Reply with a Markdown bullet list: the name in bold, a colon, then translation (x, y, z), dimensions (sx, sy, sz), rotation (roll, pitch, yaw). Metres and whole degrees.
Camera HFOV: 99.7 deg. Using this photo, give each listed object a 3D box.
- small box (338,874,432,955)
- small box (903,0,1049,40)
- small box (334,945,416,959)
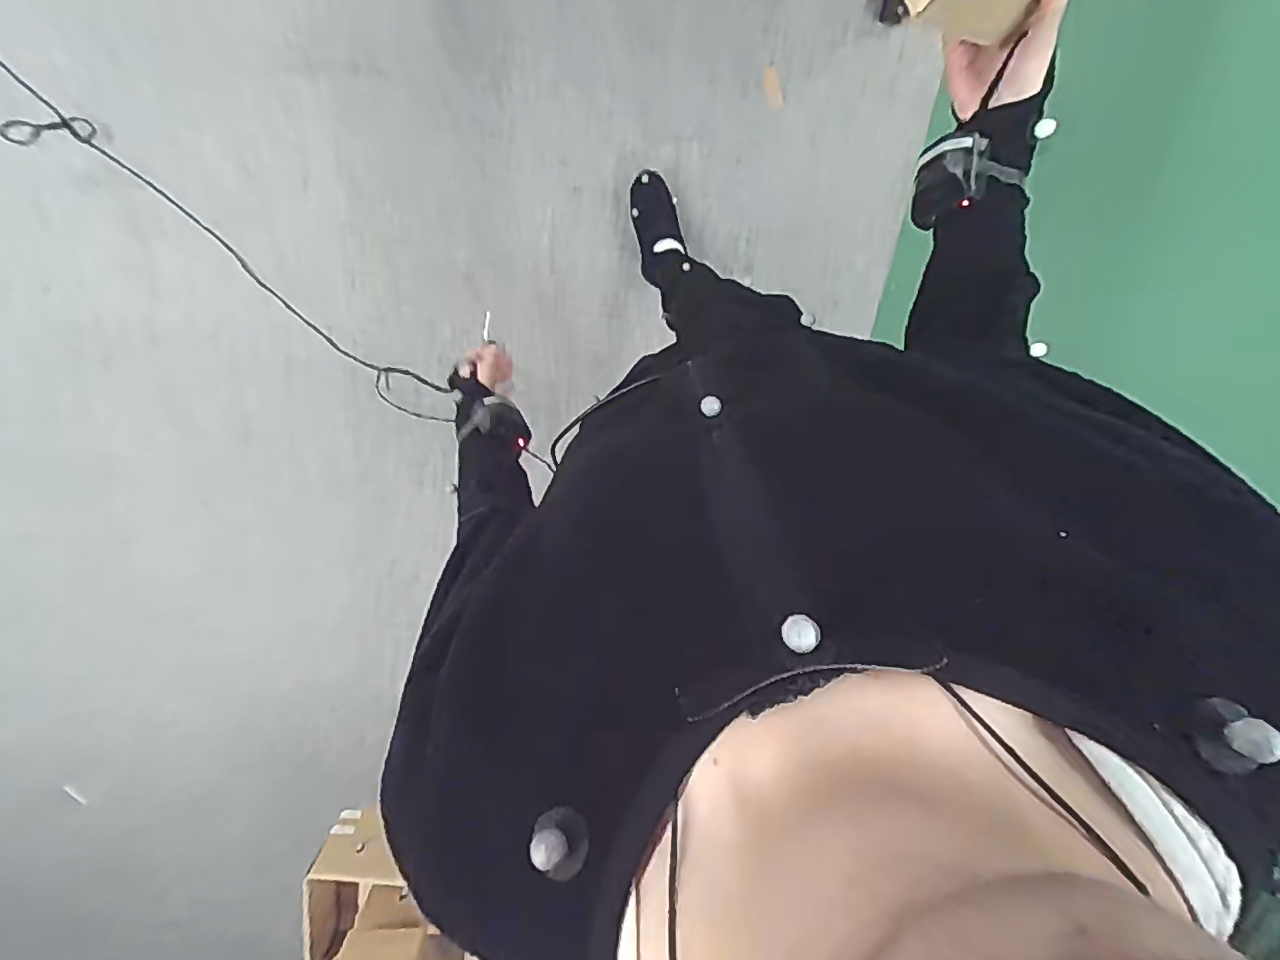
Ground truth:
- **small box**: translation (-0.620, 1.102, 1.305), dimensions (0.168, 0.176, 0.179), rotation (18, 105, -8)
- **small box**: translation (0.246, -0.434, 0.333), dimensions (0.168, 0.179, 0.176), rotation (-23, 87, -34)
- **small box**: translation (-0.587, 1.131, 1.143), dimensions (0.179, 0.176, 0.168), rotation (0, 108, -4)
